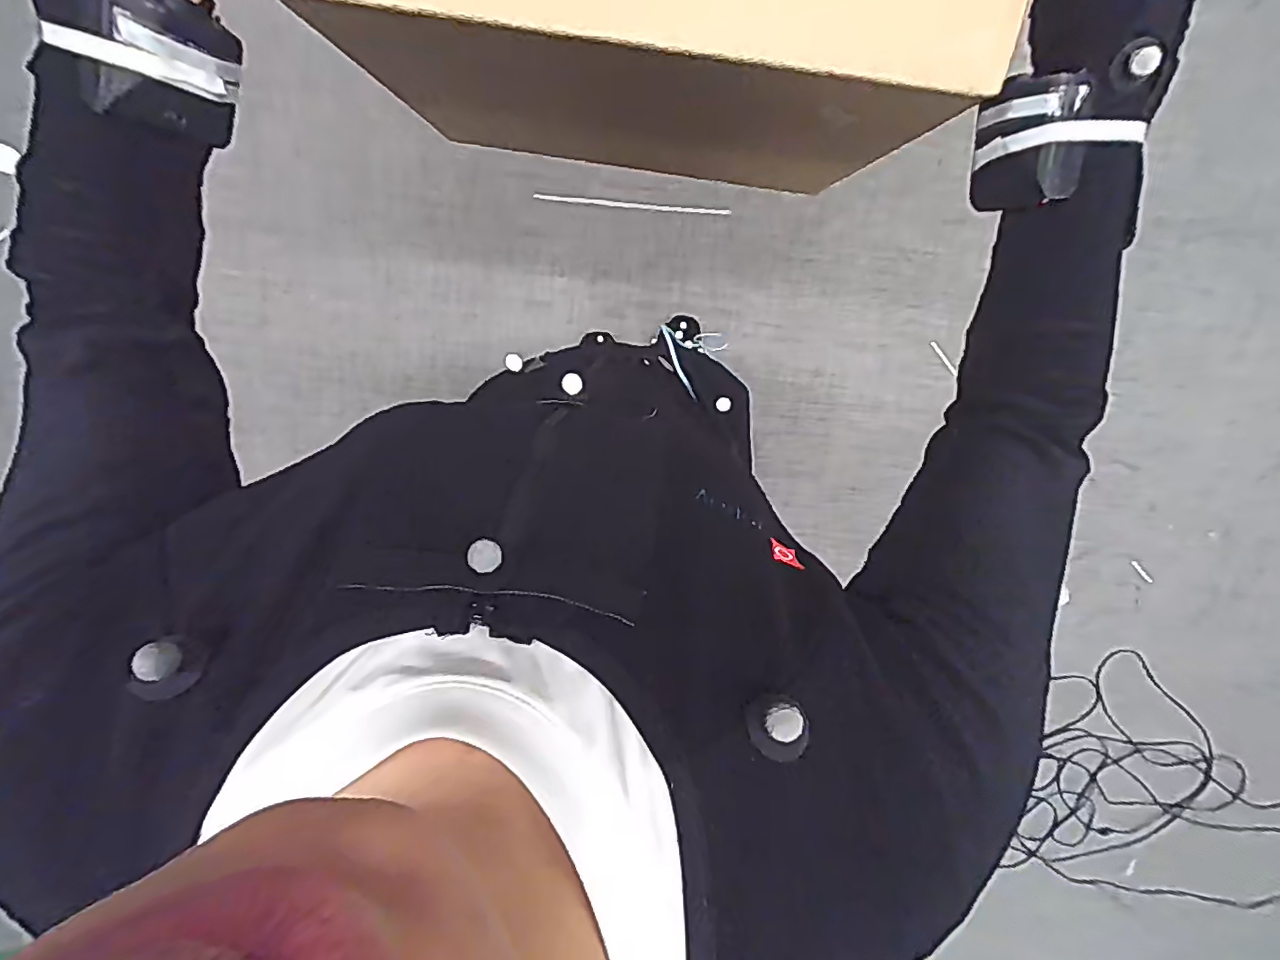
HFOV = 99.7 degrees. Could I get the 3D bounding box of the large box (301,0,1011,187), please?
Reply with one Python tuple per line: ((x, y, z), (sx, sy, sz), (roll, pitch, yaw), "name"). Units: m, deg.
((0.017, -0.434, 0.398), (0.408, 0.320, 0.320), (6, 109, -3), "large box")
